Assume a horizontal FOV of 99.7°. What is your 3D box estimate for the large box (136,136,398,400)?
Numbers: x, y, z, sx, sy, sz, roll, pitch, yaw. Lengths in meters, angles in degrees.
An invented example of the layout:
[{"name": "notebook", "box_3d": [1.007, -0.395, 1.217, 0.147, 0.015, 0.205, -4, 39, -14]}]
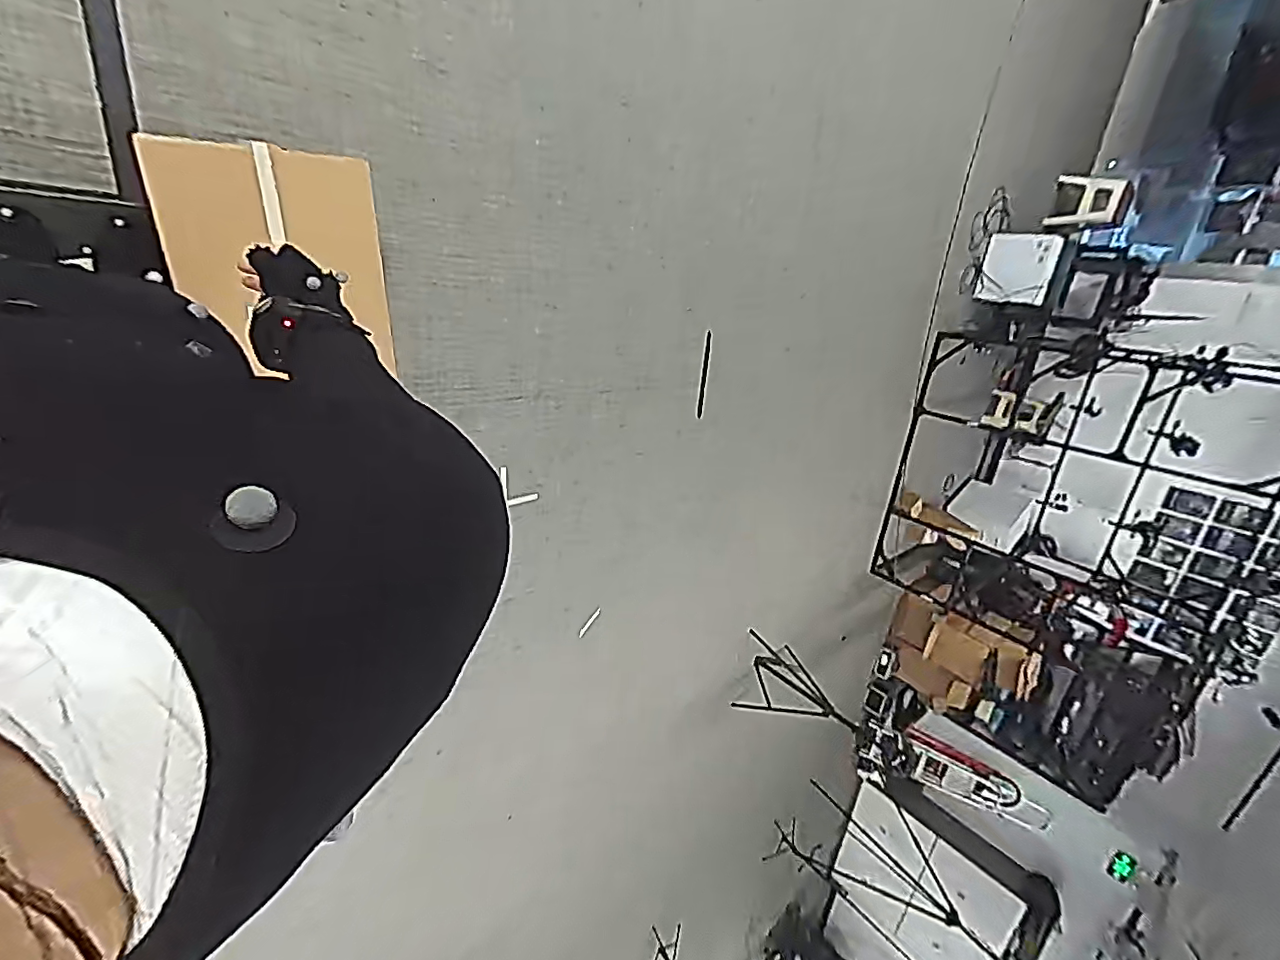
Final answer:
[{"name": "large box", "box_3d": [-0.694, -0.403, 1.046, 0.320, 0.320, 0.408, -13, 119, -32]}]
